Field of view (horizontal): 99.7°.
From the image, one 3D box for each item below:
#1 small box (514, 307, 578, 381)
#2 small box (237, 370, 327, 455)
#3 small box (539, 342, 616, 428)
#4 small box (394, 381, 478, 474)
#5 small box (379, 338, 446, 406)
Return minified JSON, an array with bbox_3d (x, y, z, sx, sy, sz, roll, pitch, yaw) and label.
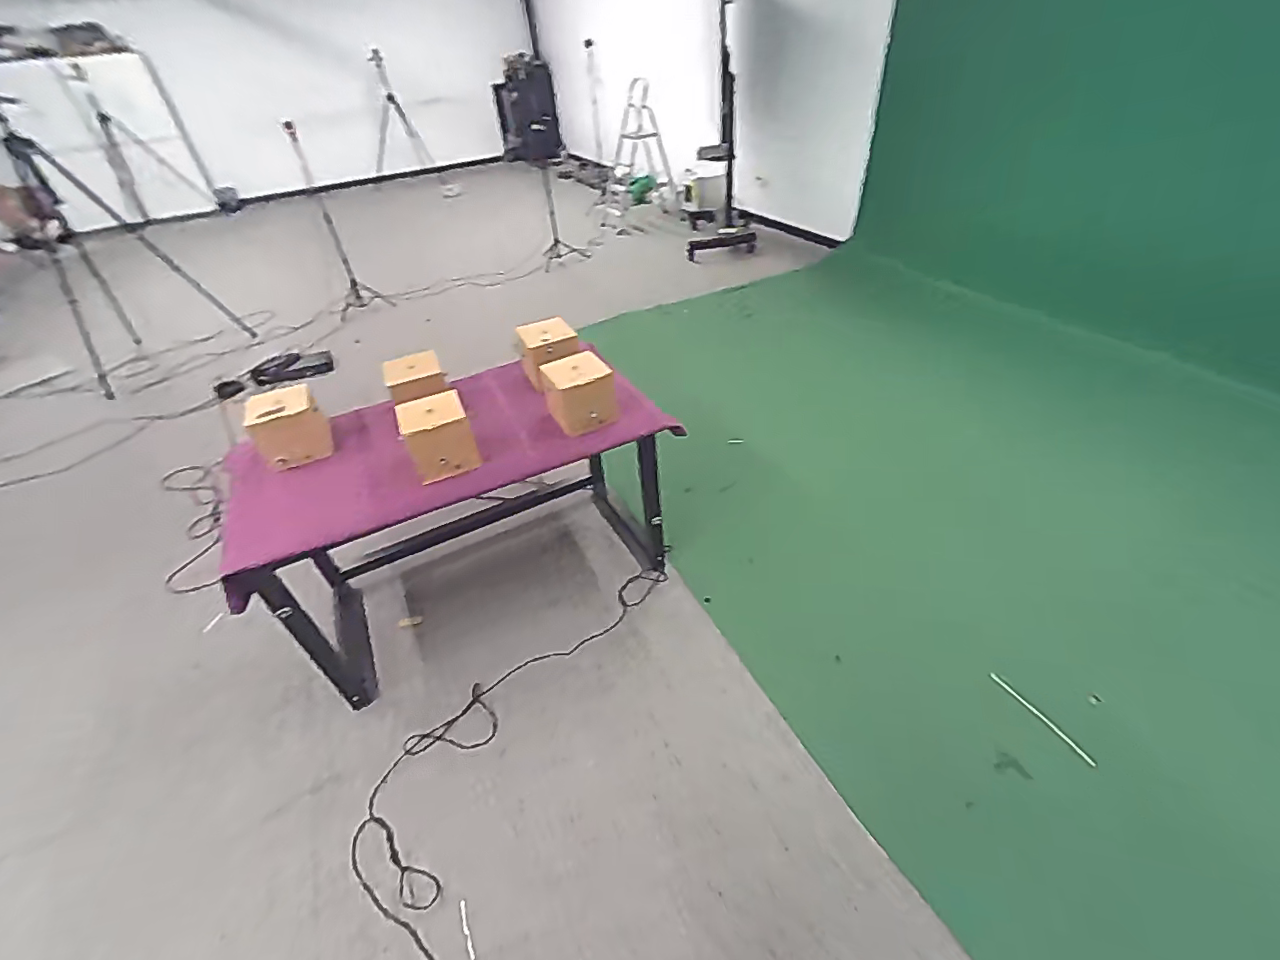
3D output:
[{"bbox_3d":[-0.312,-0.459,1.828,0.168,0.176,0.179,-21,44,-17],"label":"small box"},{"bbox_3d":[-1.038,-0.190,1.580,0.168,0.176,0.179,-20,44,-18],"label":"small box"},{"bbox_3d":[-0.184,-0.283,1.613,0.168,0.176,0.179,-23,44,-17],"label":"small box"},{"bbox_3d":[-0.563,-0.146,1.496,0.168,0.176,0.179,-19,43,-17],"label":"small box"},{"bbox_3d":[-0.706,-0.319,1.705,0.168,0.176,0.179,-19,45,-16],"label":"small box"}]
